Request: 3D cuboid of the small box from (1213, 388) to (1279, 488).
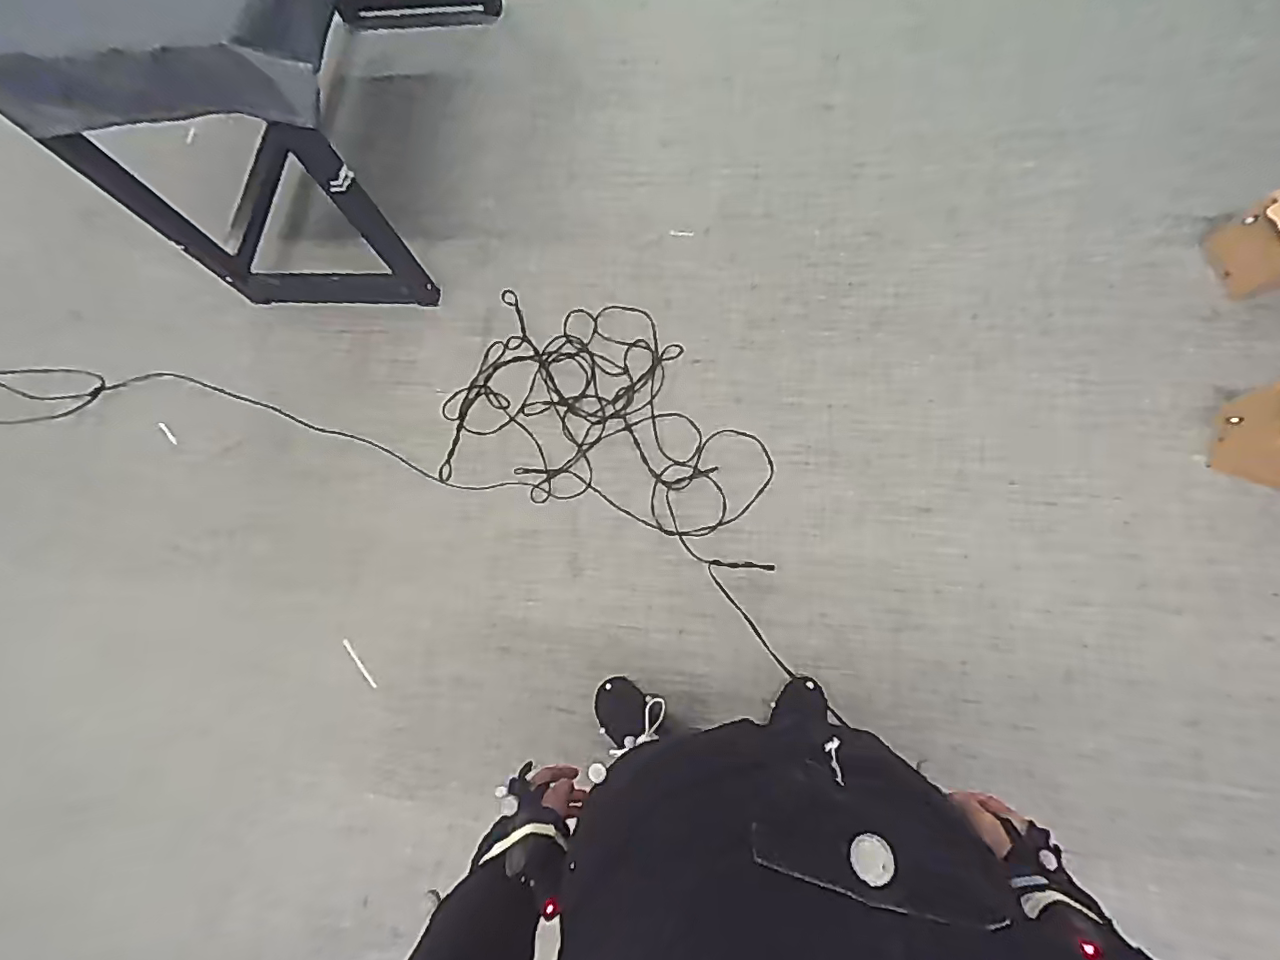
[{"bbox_3d":[1.372,-0.089,1.120,0.179,0.176,0.168,22,78,12],"label":"small box"}]
